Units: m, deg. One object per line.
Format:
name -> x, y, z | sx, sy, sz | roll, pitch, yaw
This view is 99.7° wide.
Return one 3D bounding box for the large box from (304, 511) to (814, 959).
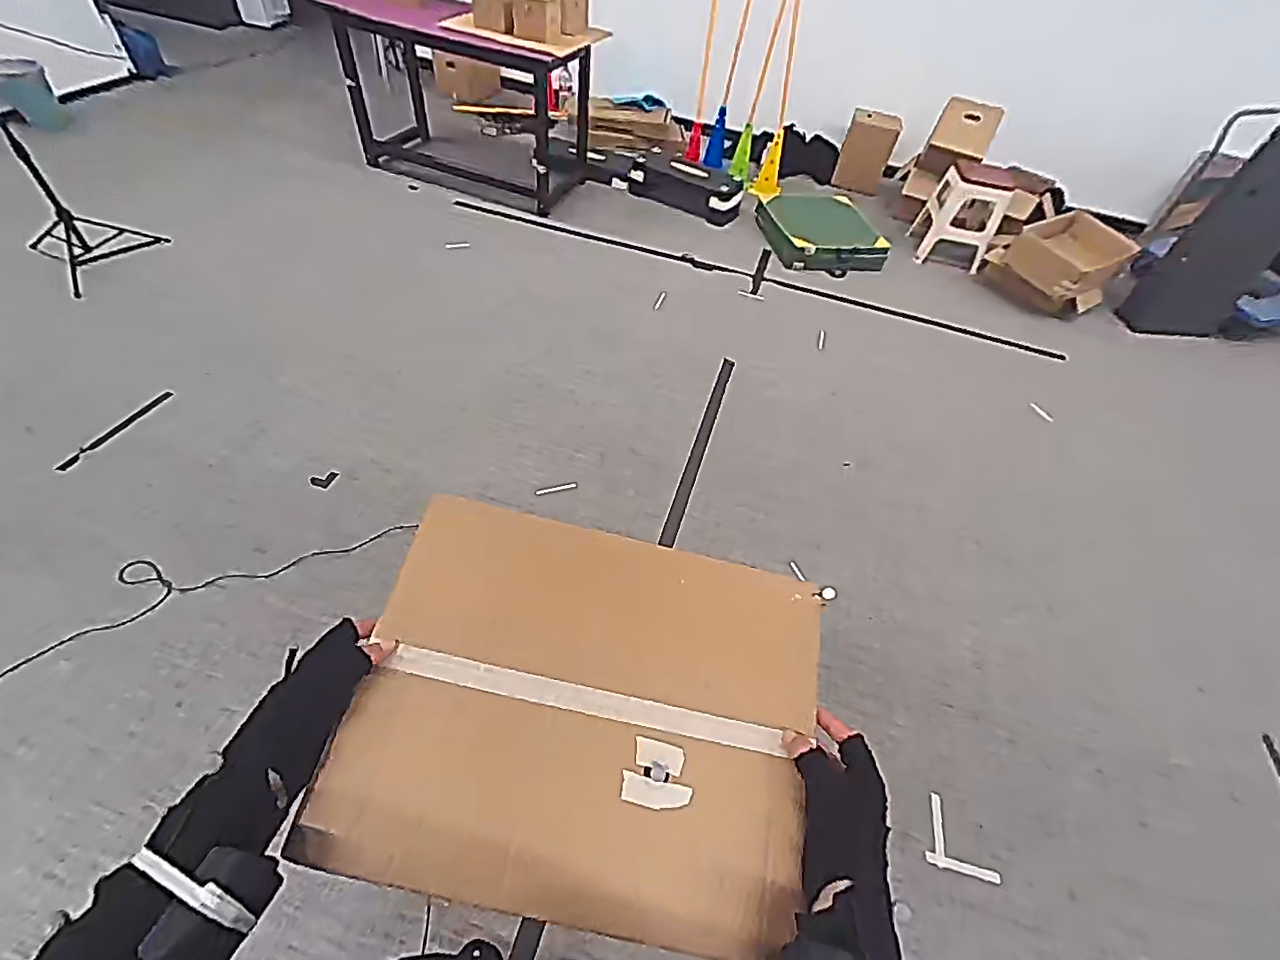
large box -> -0.060, 0.270, 0.618 | 0.408, 0.320, 0.320 | 14, 63, -2
